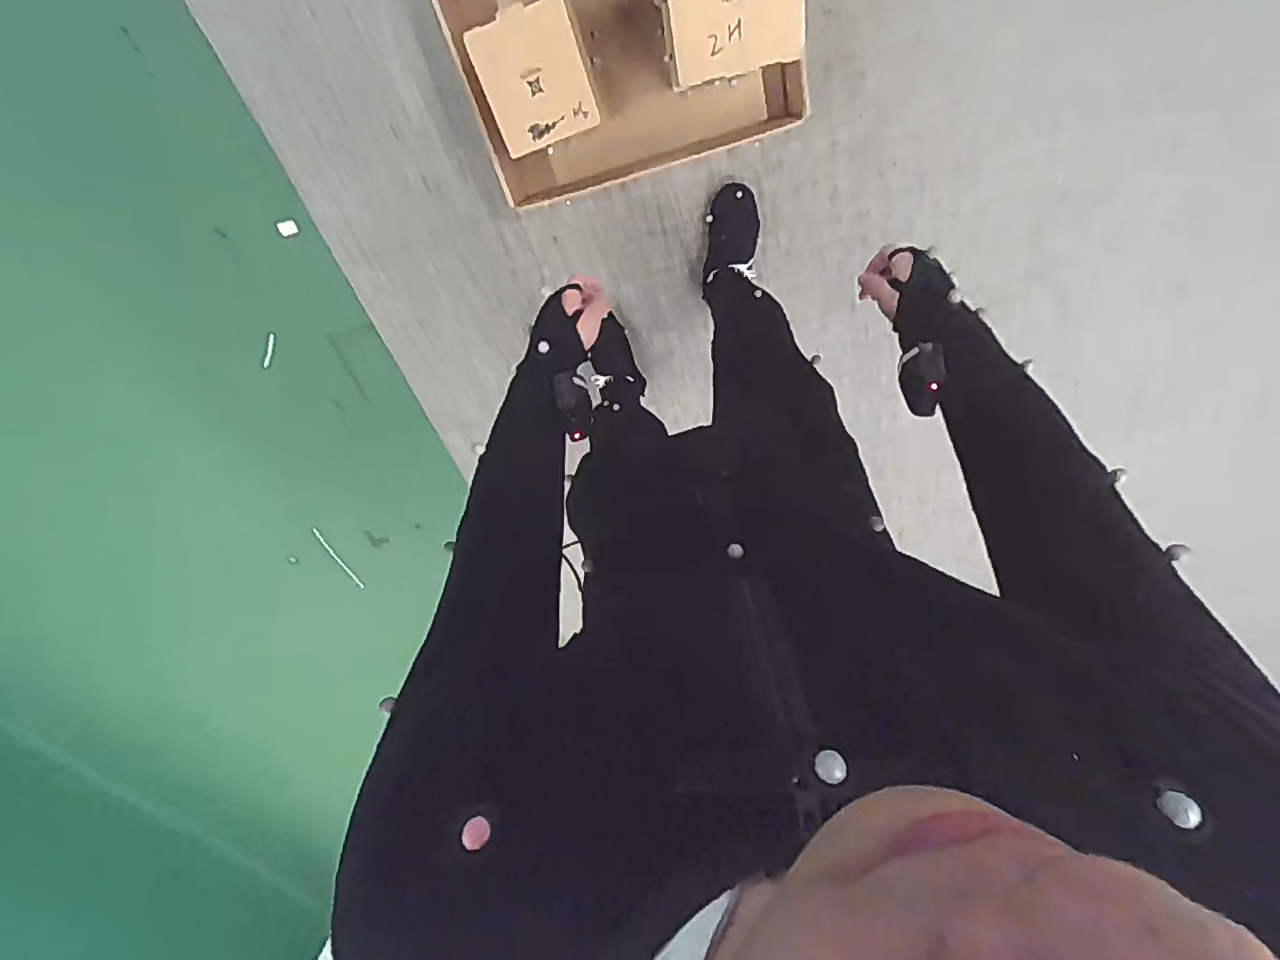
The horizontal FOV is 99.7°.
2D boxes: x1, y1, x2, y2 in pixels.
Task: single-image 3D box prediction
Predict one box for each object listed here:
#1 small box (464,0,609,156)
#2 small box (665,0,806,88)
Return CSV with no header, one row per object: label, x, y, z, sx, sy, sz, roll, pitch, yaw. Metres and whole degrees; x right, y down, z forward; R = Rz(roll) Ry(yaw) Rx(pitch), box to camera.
small box,-0.161,-0.671,0.909,0.168,0.176,0.179,-13,123,13
small box,0.118,-0.641,0.715,0.168,0.176,0.179,-8,126,9
